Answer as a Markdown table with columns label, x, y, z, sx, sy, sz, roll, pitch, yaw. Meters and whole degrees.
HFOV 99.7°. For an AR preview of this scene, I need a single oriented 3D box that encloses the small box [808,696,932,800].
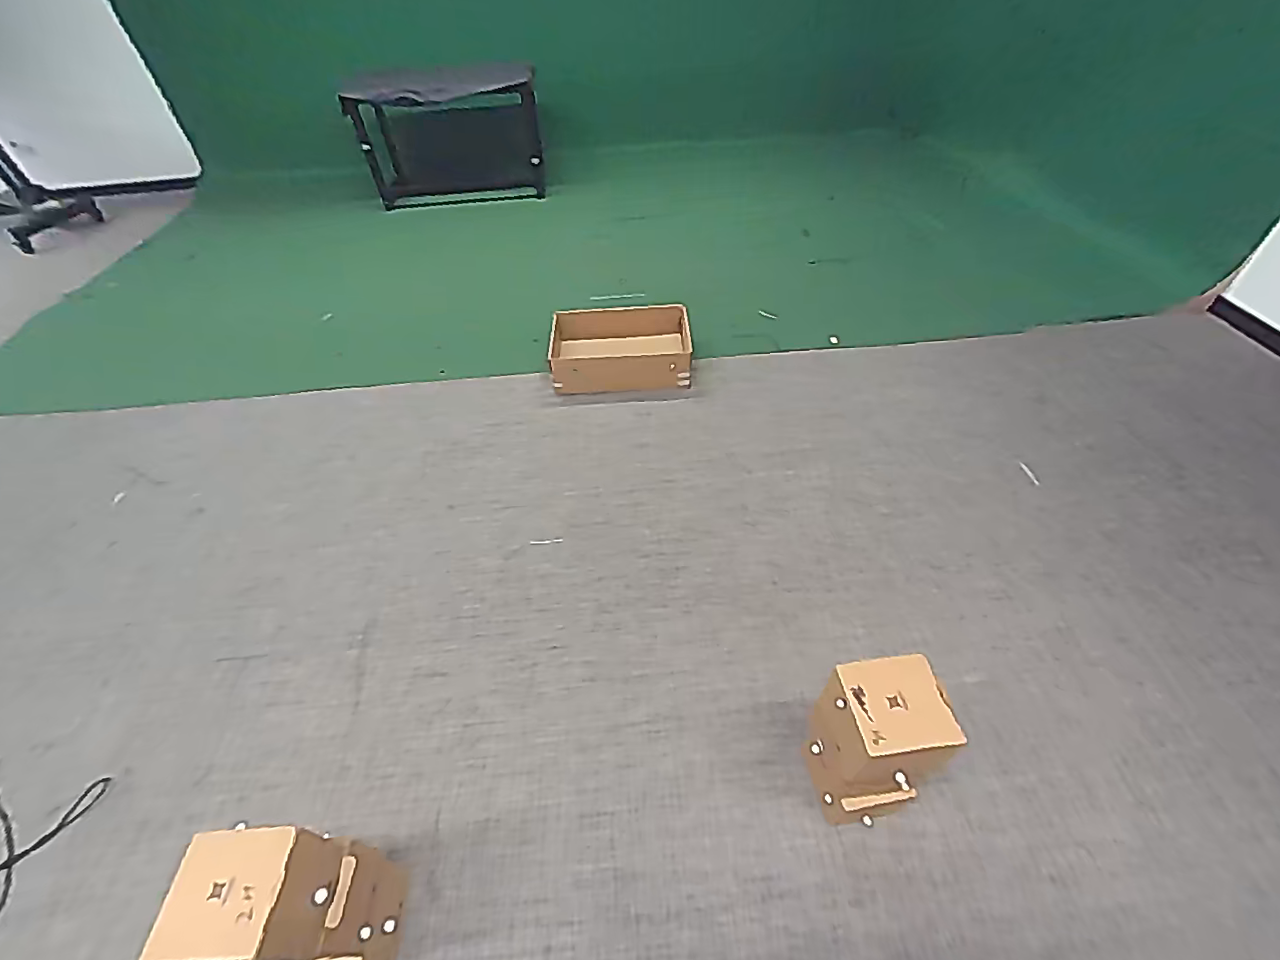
| label | x | y | z | sx | sy | sz | roll | pitch | yaw |
| --- | --- | --- | --- | --- | --- | --- | --- | --- | --- |
| small box | 0.479 | 0.566 | 1.155 | 0.179 | 0.176 | 0.168 | -7 | 46 | -1 |

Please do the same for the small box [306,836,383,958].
| label | x | y | z | sx | sy | sz | roll | pitch | yaw |
| --- | --- | --- | --- | --- | --- | --- | --- | --- | --- |
| small box | -0.614 | 0.779 | 1.011 | 0.179 | 0.176 | 0.168 | -4 | 46 | 2 |

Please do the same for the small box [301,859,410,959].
| label | x | y | z | sx | sy | sz | roll | pitch | yaw |
| --- | --- | --- | --- | --- | --- | --- | --- | --- | --- |
| small box | -0.605 | 0.900 | 1.122 | 0.179 | 0.176 | 0.168 | -4 | 47 | 1 |

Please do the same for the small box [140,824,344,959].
| label | x | y | z | sx | sy | sz | roll | pitch | yaw |
| --- | --- | --- | --- | --- | --- | --- | --- | --- | --- |
| small box | -0.628 | 0.677 | 0.882 | 0.179 | 0.176 | 0.168 | -4 | 47 | 1 |

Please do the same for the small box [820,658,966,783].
| label | x | y | z | sx | sy | sz | roll | pitch | yaw |
| --- | --- | --- | --- | --- | --- | --- | --- | --- | --- |
| small box | 0.467 | 0.460 | 1.030 | 0.179 | 0.176 | 0.168 | -6 | 46 | -3 |
